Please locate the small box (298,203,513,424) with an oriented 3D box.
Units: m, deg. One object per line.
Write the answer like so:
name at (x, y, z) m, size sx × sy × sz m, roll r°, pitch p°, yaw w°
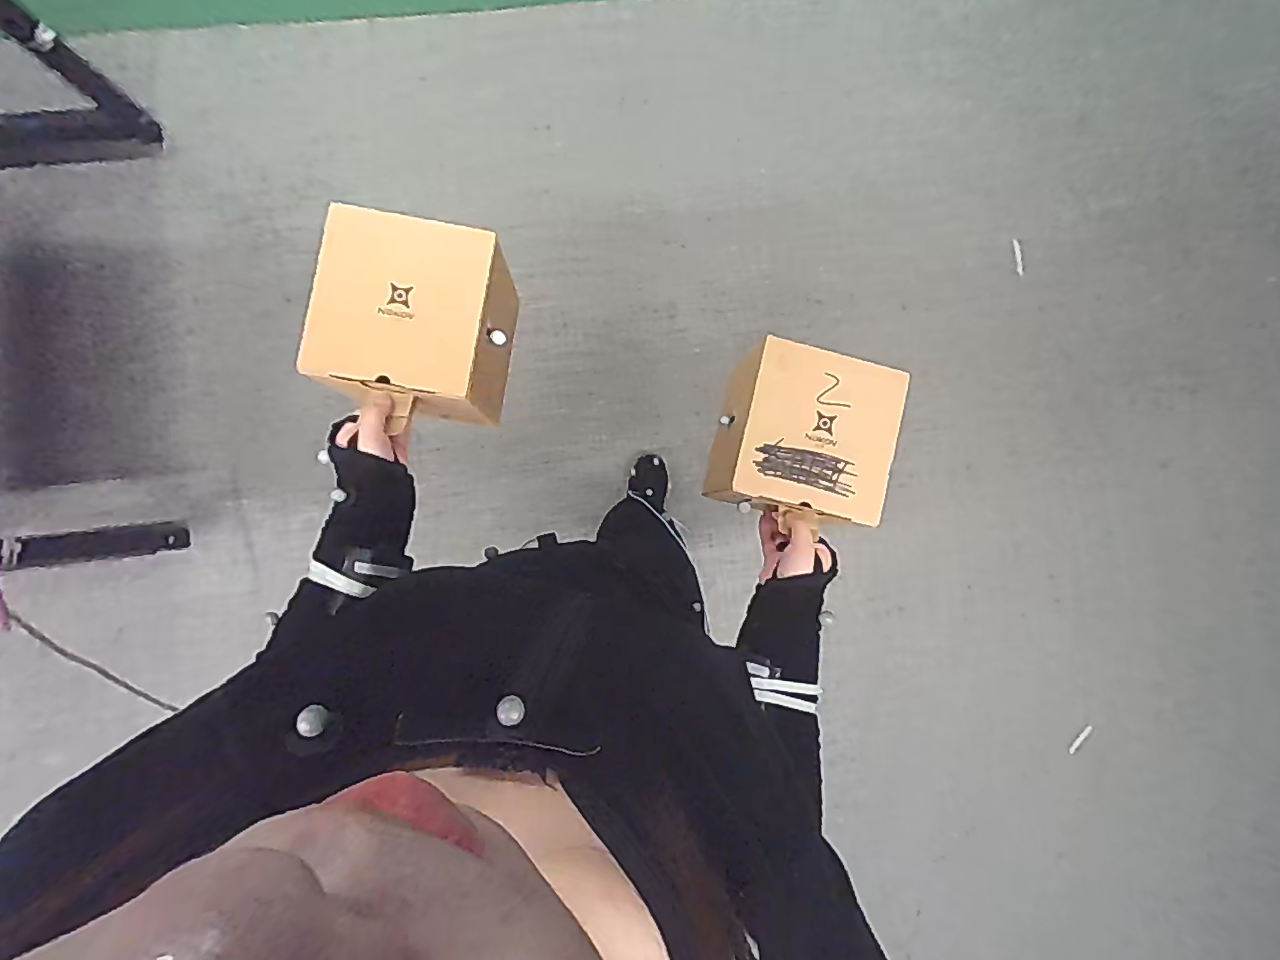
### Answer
small box at (-0.245, -0.172, 0.612) m, size 0.168 × 0.176 × 0.179 m, roll 9°, pitch 86°, yaw -5°
